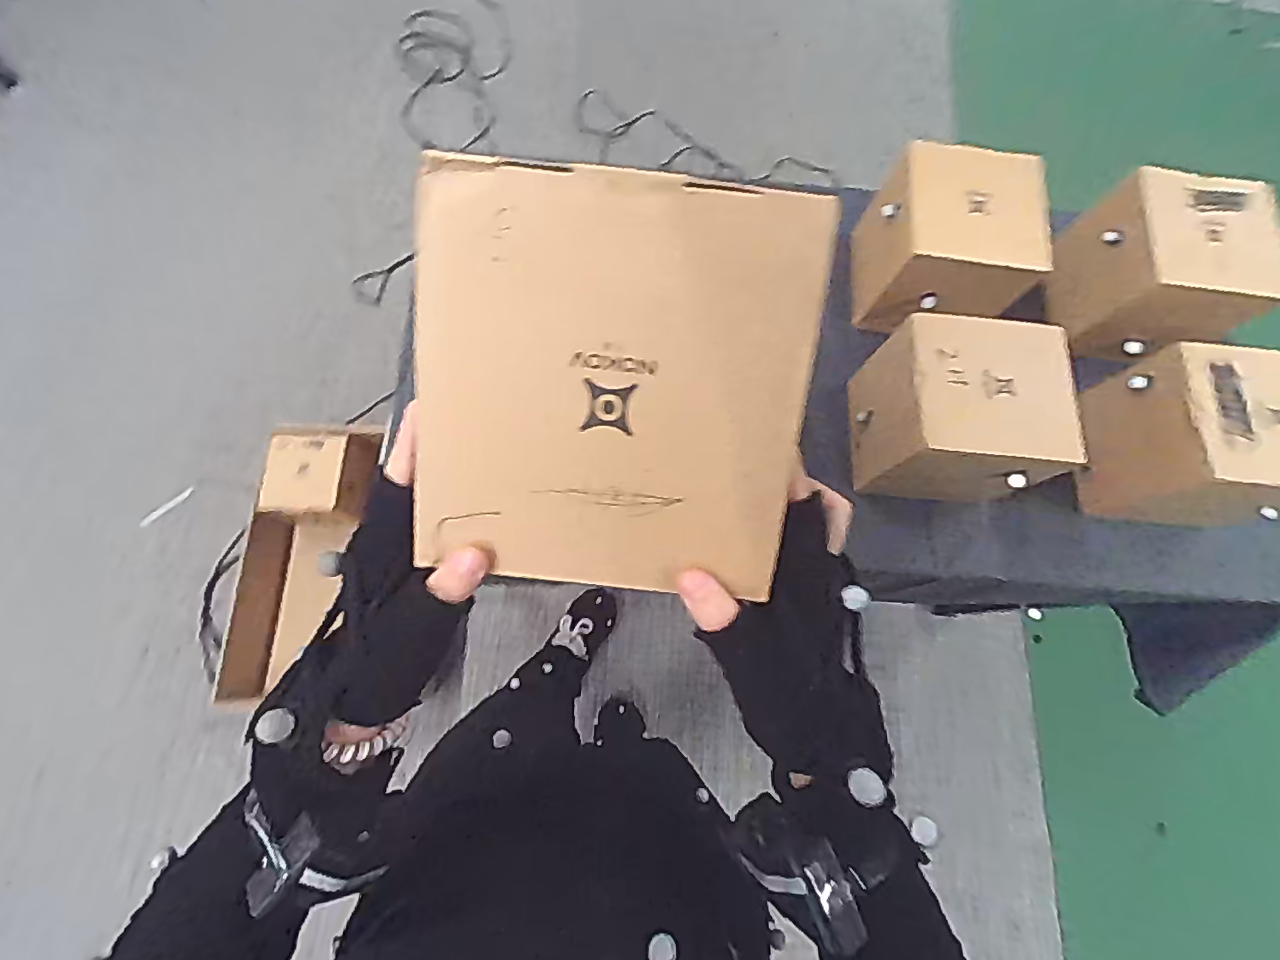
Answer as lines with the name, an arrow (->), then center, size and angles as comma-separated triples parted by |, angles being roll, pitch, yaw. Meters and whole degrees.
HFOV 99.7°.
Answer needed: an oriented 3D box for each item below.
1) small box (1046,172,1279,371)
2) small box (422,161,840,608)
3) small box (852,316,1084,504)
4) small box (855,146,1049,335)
small box -> 0.695, -0.273, 0.736 | 0.168, 0.176, 0.179 | 8, 74, 0
small box -> -0.009, -0.051, 0.310 | 0.168, 0.176, 0.179 | 7, 104, -1
small box -> 0.379, -0.074, 0.659 | 0.179, 0.176, 0.168 | 6, 72, -1
small box -> 0.406, -0.306, 0.734 | 0.168, 0.176, 0.179 | 8, 73, 0
